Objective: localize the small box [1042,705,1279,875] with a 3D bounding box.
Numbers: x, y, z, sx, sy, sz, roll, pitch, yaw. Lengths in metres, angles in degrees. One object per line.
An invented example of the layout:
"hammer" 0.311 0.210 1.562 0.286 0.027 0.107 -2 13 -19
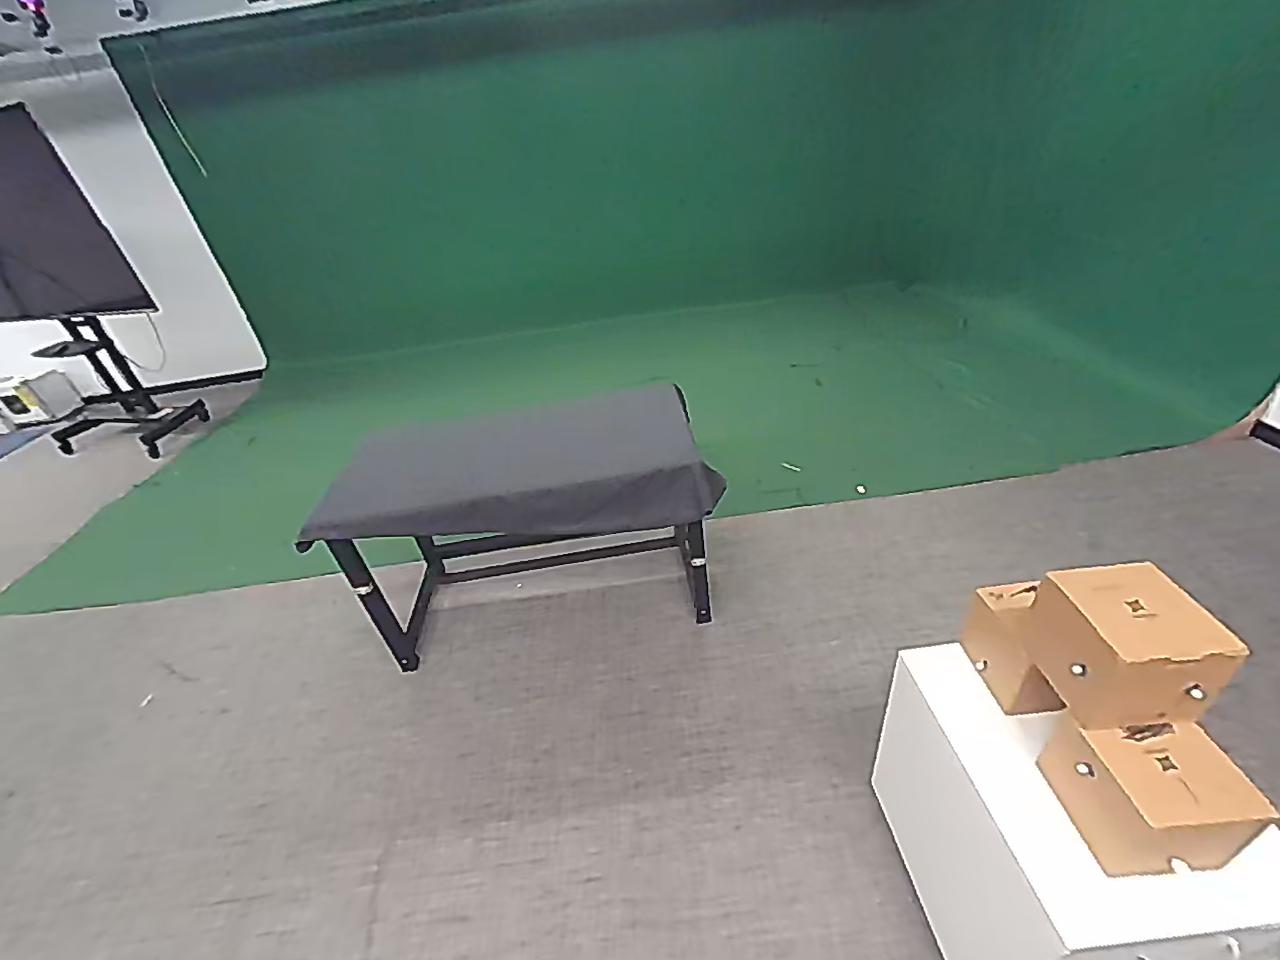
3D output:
"small box" 0.756 0.458 0.816 0.168 0.176 0.179 -7 35 4

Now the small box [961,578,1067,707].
"small box" 0.751 0.312 1.031 0.168 0.176 0.179 -8 36 1

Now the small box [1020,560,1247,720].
"small box" 0.737 0.250 0.836 0.168 0.176 0.179 -6 33 2
